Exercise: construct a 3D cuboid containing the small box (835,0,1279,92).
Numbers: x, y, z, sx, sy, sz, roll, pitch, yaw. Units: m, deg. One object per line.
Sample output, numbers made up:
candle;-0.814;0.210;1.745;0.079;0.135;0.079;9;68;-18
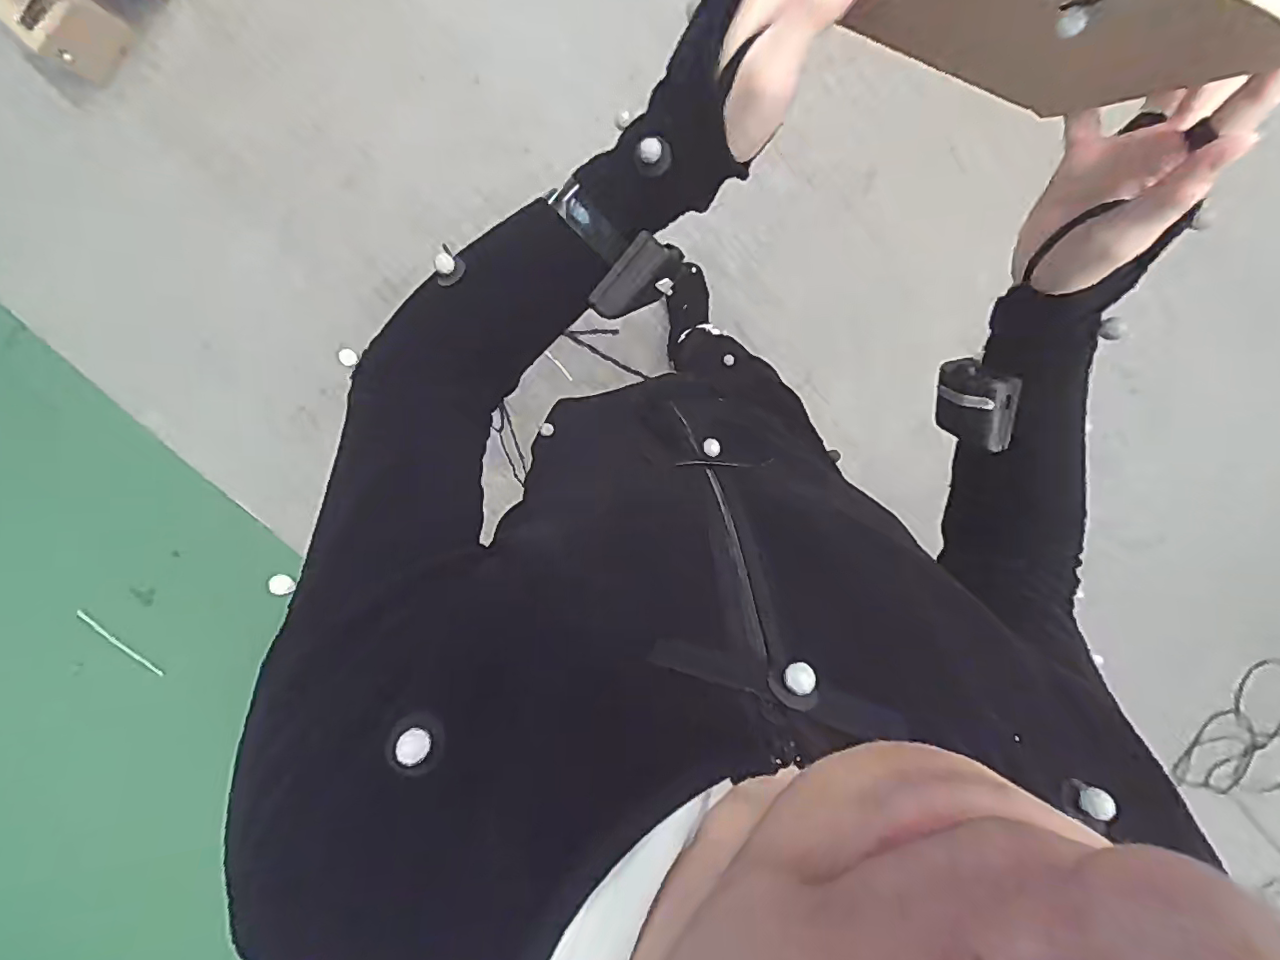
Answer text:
small box;0.217;-0.307;0.241;0.179;0.176;0.168;13;113;-10
